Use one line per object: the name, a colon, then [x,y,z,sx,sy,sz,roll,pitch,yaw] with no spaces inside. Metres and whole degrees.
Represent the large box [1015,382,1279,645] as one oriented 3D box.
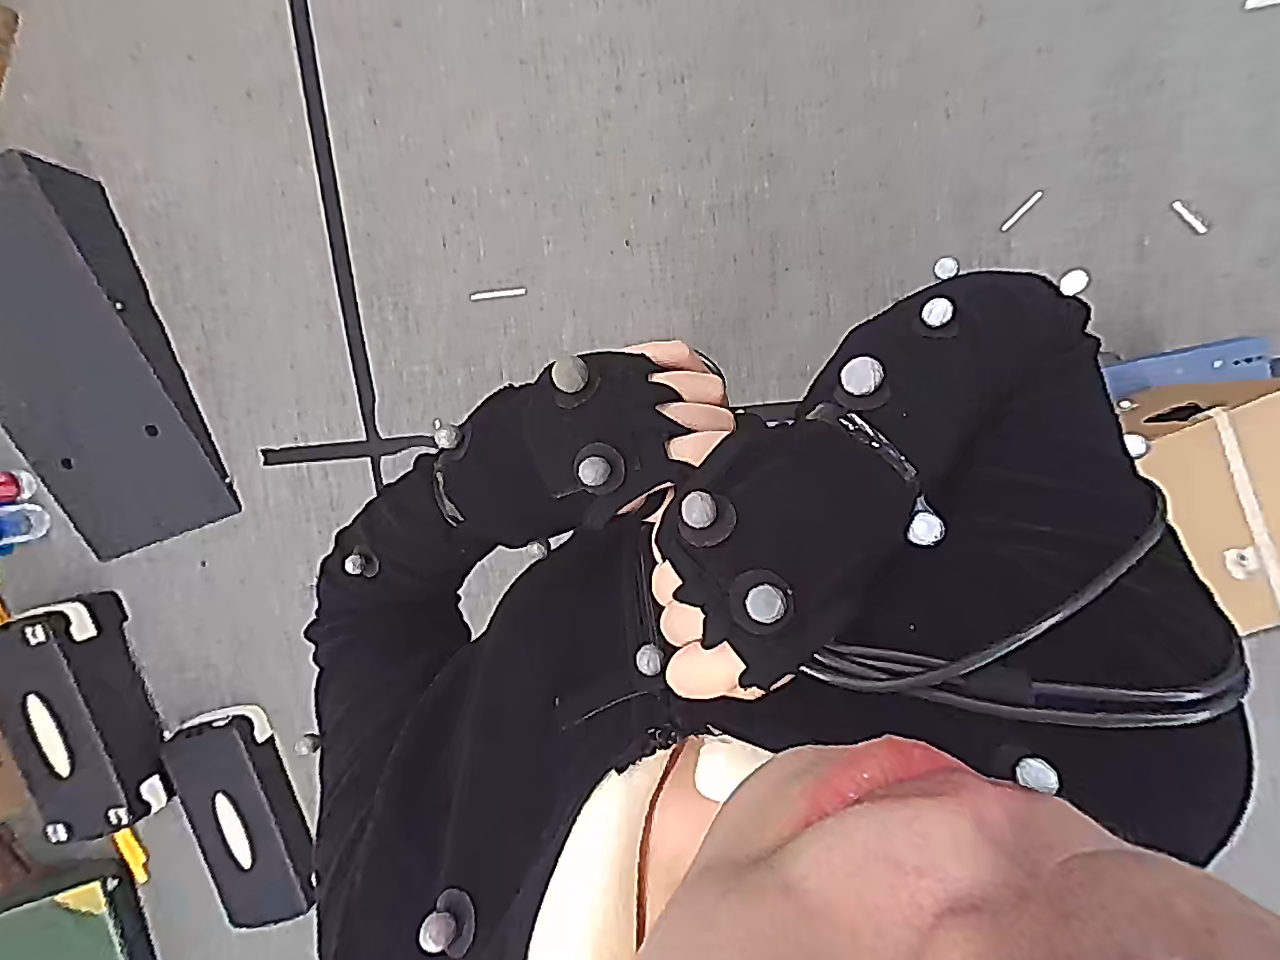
large box: [1.071,0.047,1.107,0.320,0.320,0.408,-23,96,7]
